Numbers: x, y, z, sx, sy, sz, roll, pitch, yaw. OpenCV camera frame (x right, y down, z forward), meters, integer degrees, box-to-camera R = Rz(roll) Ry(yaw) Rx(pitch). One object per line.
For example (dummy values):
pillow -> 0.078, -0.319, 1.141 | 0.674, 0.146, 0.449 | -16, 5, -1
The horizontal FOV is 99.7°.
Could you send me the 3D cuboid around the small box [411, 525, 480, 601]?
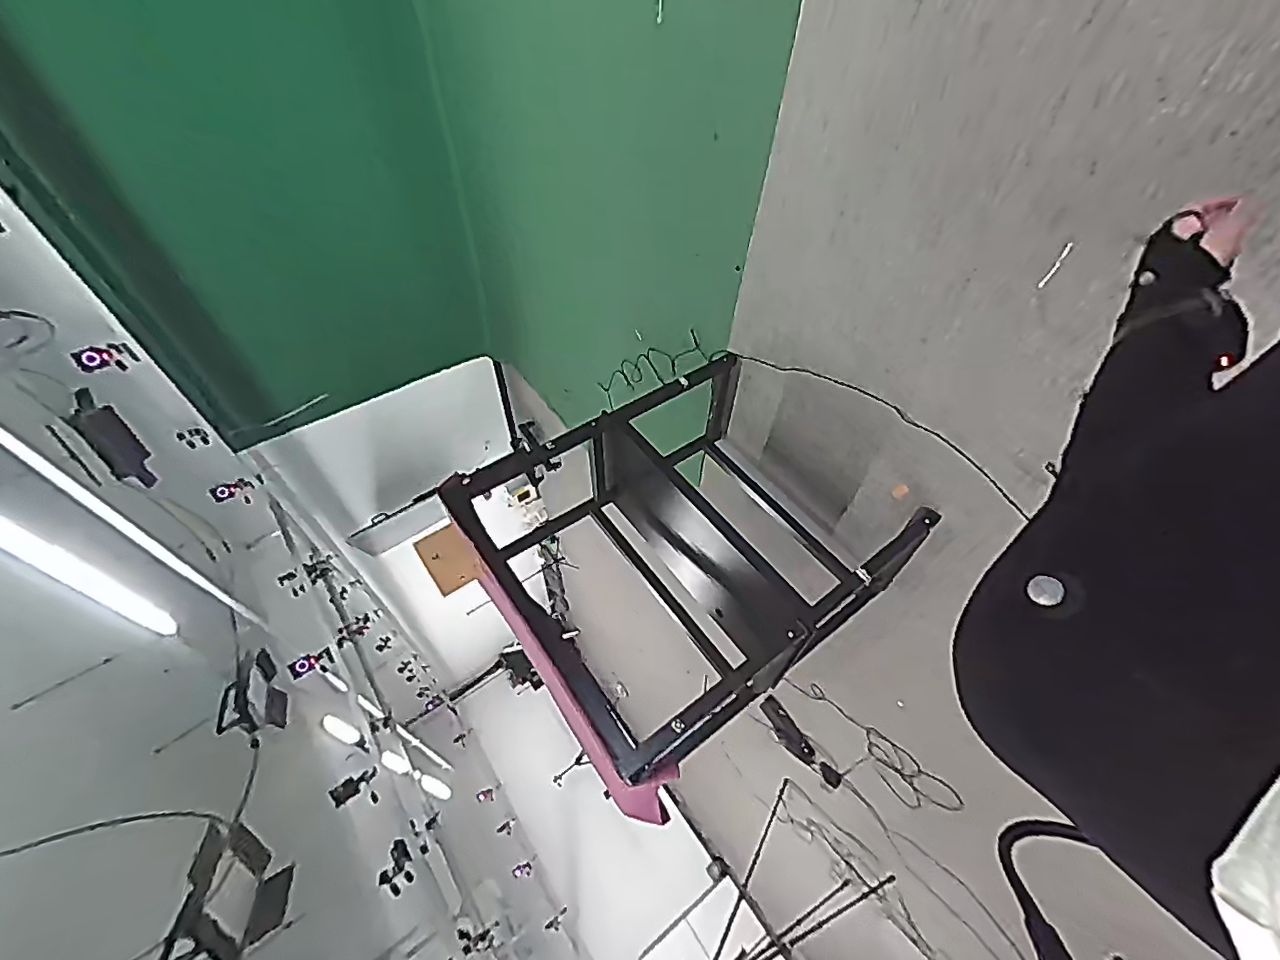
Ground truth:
small box -> -0.690, 0.296, 1.949 | 0.179, 0.176, 0.168 | 49, 153, 25
